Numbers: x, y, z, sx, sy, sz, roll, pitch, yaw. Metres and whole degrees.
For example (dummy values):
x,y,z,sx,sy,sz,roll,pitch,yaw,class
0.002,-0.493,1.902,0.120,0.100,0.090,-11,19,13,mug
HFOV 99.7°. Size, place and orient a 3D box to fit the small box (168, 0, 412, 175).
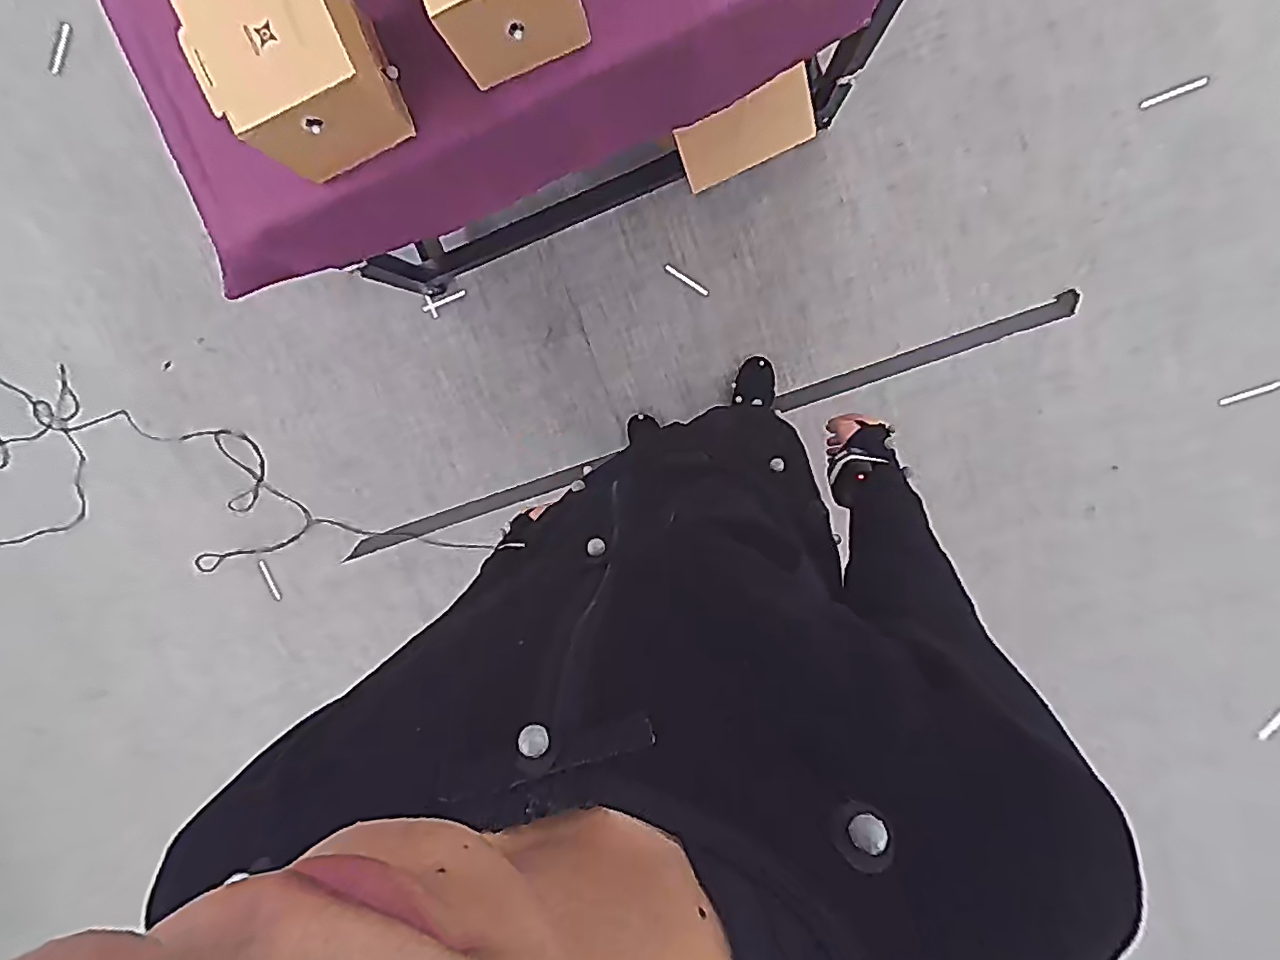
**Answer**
x,y,z,sx,sy,sz,roll,pitch,yaw,class
-0.444,-0.541,0.715,0.179,0.176,0.168,-21,99,7,small box
